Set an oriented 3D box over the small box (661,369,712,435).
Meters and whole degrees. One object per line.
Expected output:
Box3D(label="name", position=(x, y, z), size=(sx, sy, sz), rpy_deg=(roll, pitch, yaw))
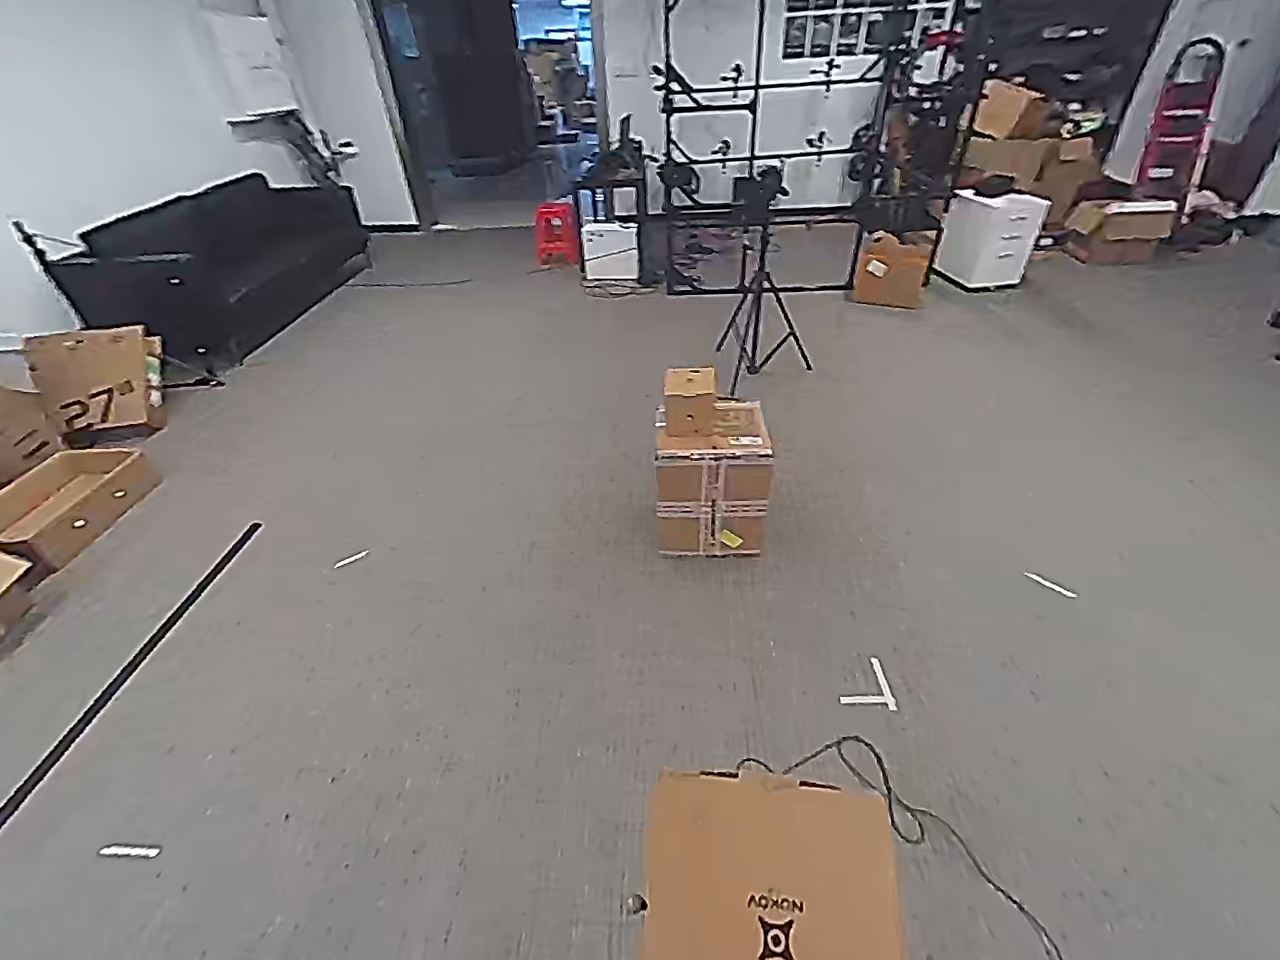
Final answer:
Box3D(label="small box", position=(0.166, -0.267, 1.874), size=(0.168, 0.176, 0.179), rpy_deg=(0, 41, 7))
